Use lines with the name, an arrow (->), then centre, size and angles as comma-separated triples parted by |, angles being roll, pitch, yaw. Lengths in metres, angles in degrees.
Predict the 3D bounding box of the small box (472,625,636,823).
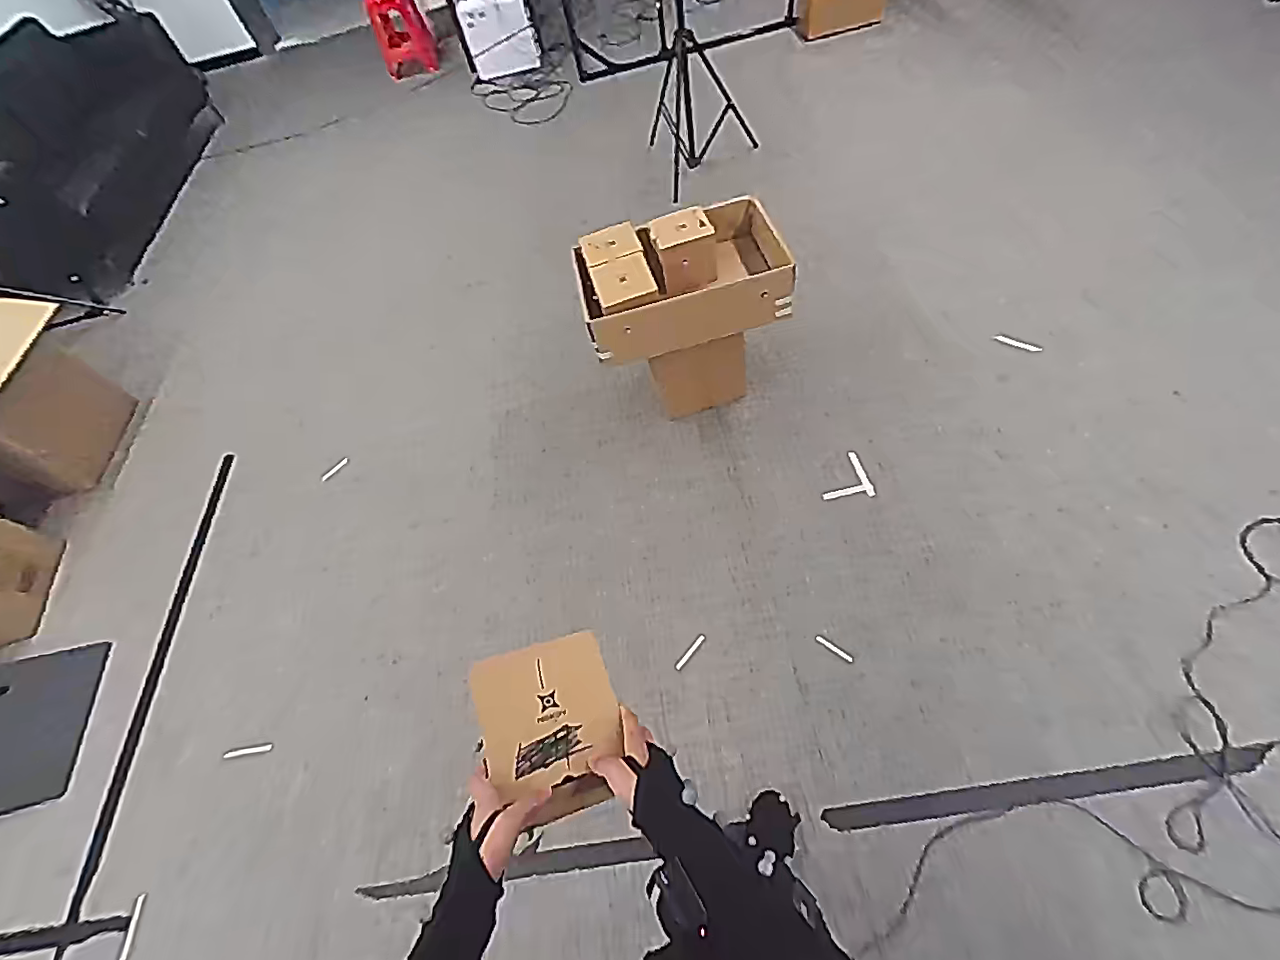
small box -> -0.117, 0.326, 0.715 | 0.168, 0.176, 0.179 | -11, 50, -20
